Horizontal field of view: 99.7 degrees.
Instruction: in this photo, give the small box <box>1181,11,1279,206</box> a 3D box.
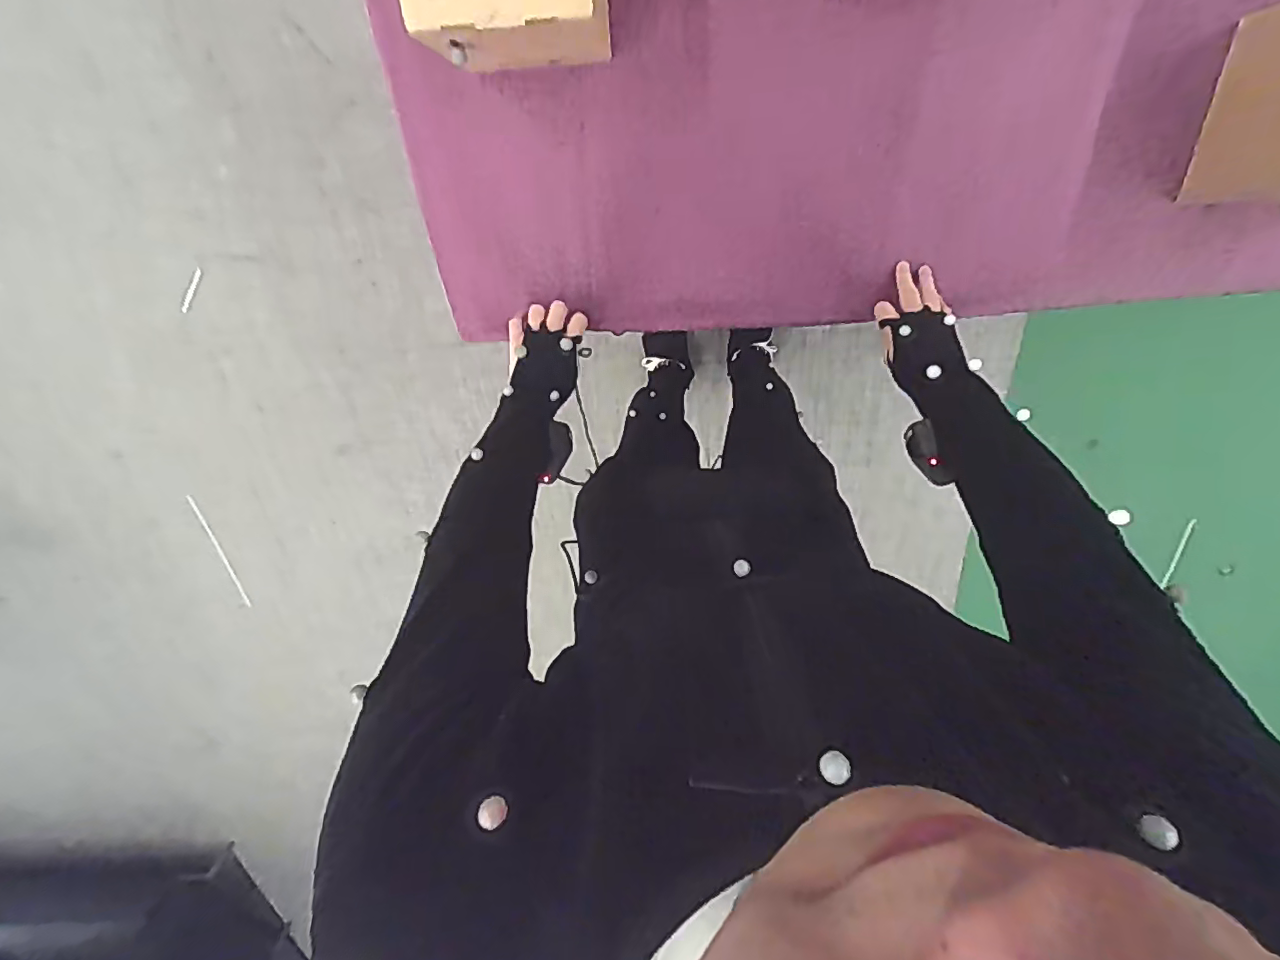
[{"bbox_3d":[0.705,-0.369,0.529,0.168,0.176,0.179,-1,117,4],"label":"small box"}]
